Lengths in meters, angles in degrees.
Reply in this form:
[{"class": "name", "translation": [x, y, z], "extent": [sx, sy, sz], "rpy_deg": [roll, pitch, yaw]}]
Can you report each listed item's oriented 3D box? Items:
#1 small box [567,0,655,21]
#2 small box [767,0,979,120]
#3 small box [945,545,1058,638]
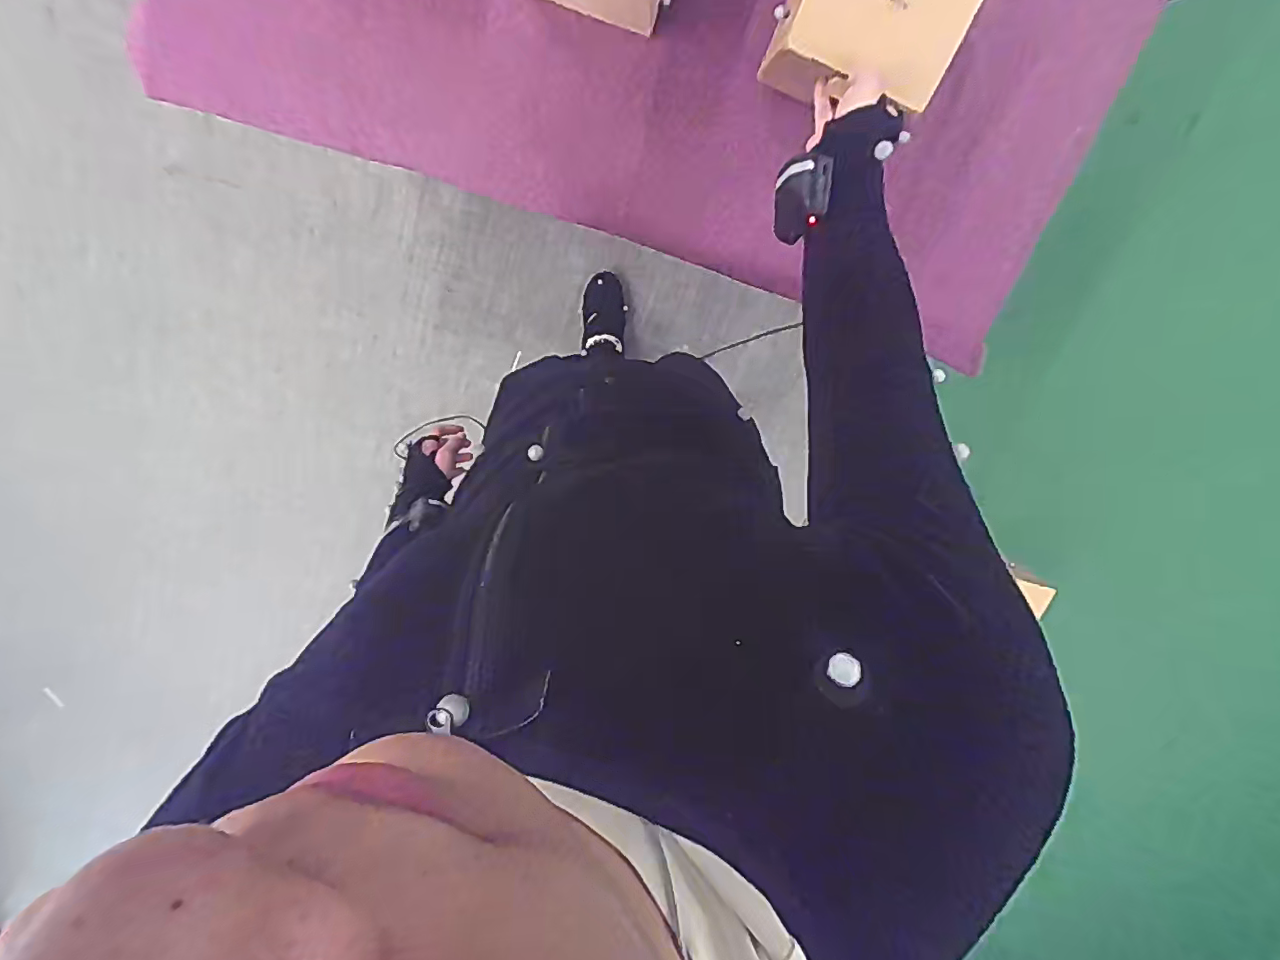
[{"class": "small box", "translation": [-0.047, -0.632, 0.571], "extent": [0.179, 0.176, 0.168], "rpy_deg": [15, 111, -5]}, {"class": "small box", "translation": [0.253, -0.523, 0.586], "extent": [0.168, 0.176, 0.179], "rpy_deg": [20, 117, -9]}, {"class": "small box", "translation": [1.007, 0.309, 1.527], "extent": [0.168, 0.176, 0.179], "rpy_deg": [16, 110, -6]}]
